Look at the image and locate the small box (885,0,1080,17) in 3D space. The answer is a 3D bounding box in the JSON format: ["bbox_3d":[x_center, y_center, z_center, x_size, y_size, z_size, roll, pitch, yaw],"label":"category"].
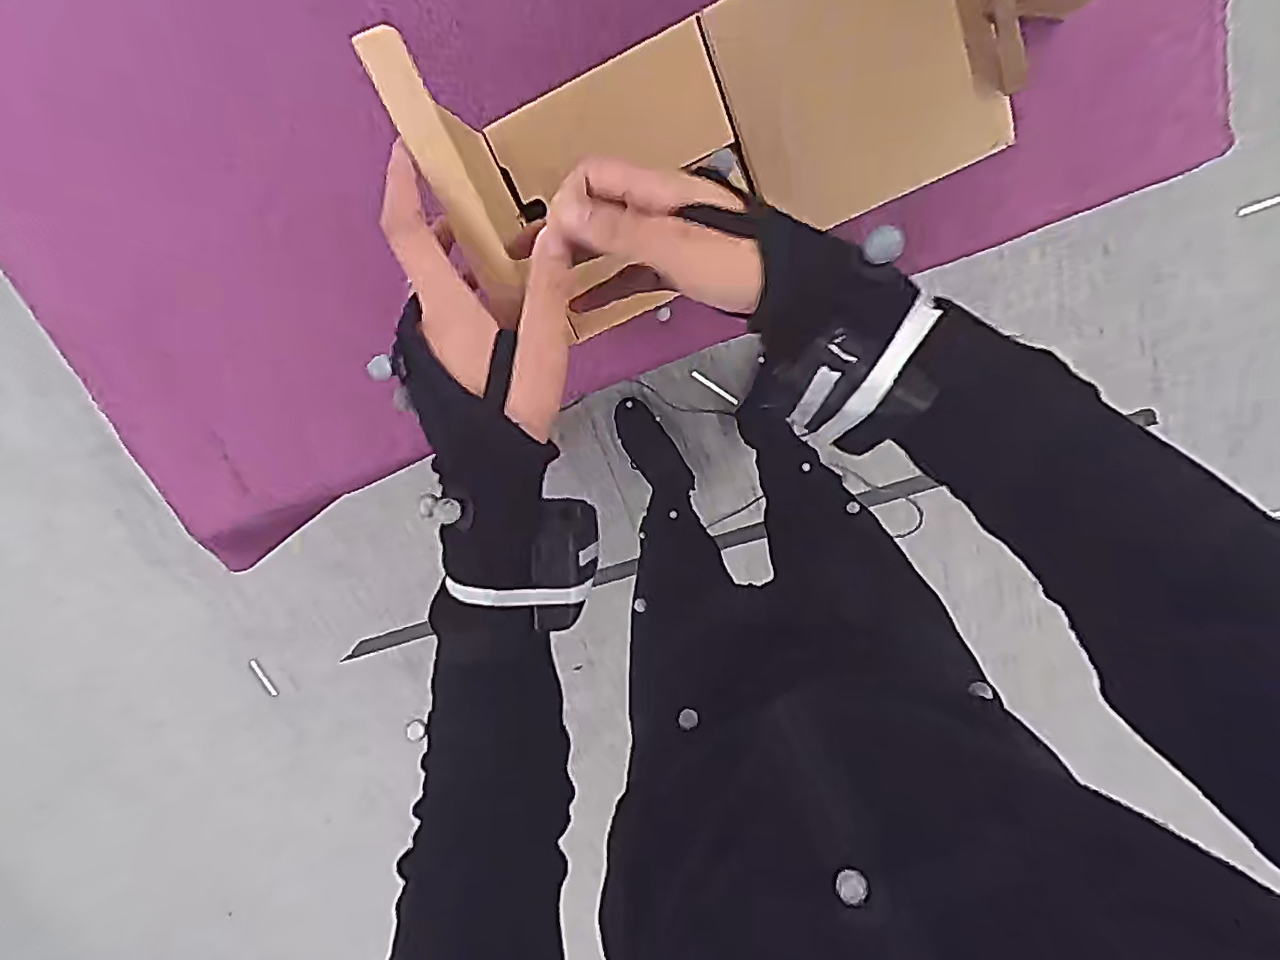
[{"bbox_3d":[0.300,-0.469,0.384,0.179,0.176,0.168,6,110,0],"label":"small box"}]
